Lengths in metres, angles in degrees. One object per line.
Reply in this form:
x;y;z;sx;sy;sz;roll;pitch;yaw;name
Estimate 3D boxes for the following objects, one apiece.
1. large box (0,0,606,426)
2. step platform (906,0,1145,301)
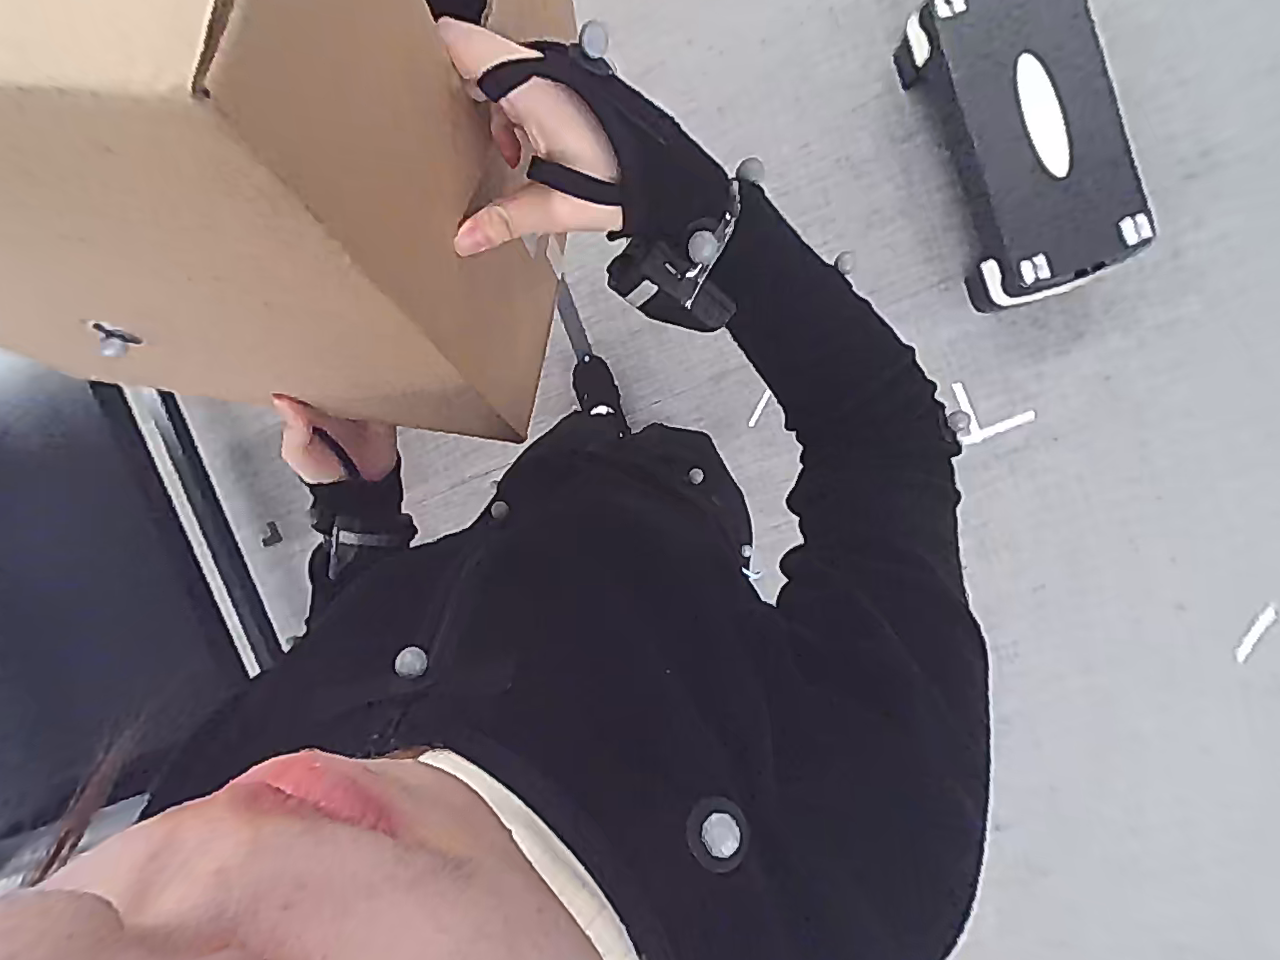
-0.256;-0.240;0.322;0.408;0.320;0.320;9;79;6;large box
0.816;-0.762;1.165;0.286;0.204;0.684;-15;94;10;step platform
